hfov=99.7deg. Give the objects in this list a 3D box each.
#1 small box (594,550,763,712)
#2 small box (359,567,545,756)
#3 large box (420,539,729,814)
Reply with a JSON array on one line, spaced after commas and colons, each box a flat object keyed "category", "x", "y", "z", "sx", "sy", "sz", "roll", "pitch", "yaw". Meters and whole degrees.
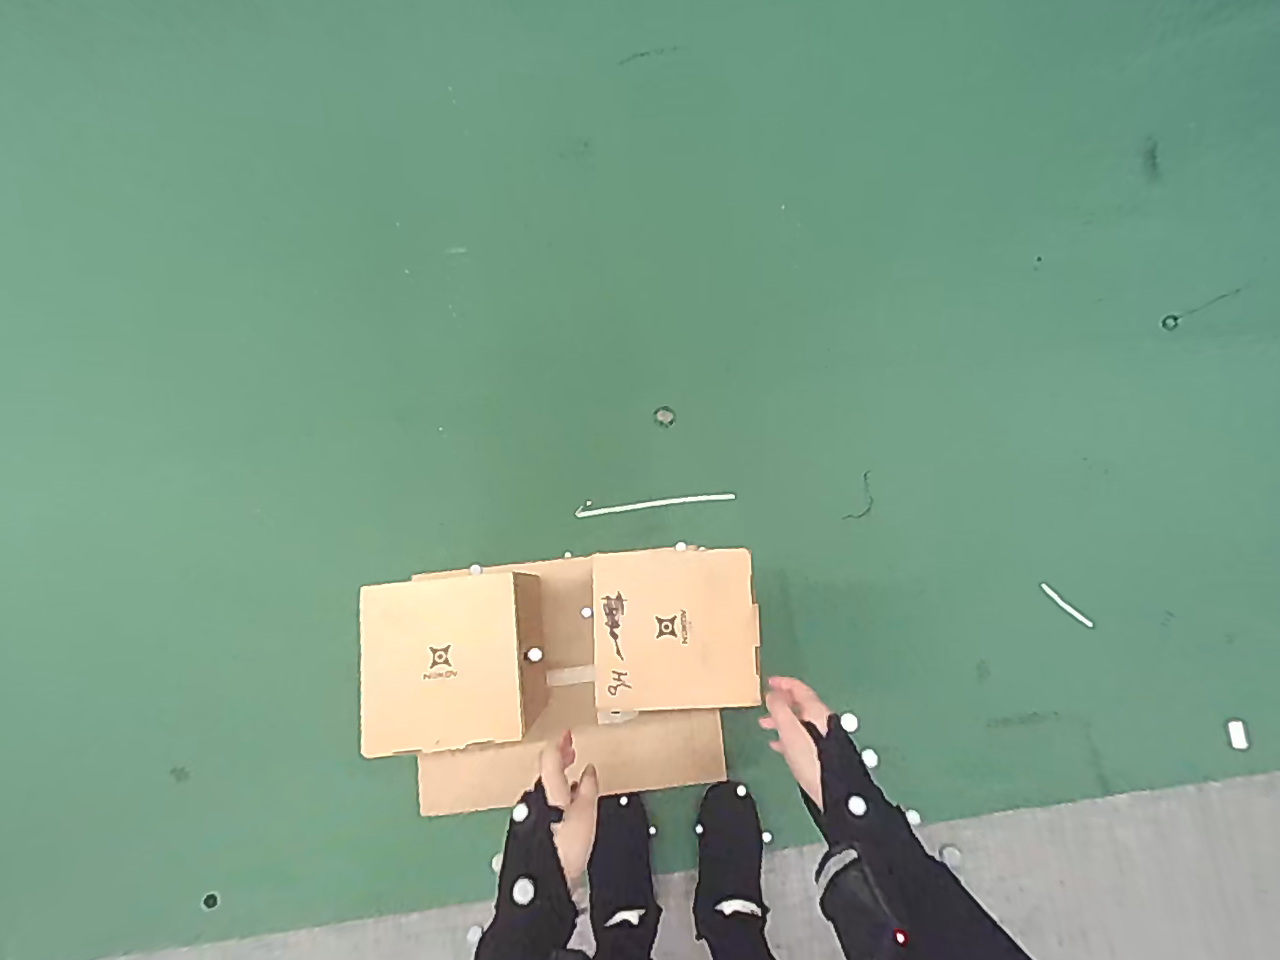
[{"category": "small box", "x": 0.037, "y": 0.169, "z": 0.645, "sx": 0.179, "sy": 0.176, "sz": 0.168, "roll": -2, "pitch": 79, "yaw": 0}, {"category": "small box", "x": -0.210, "y": 0.202, "z": 0.640, "sx": 0.168, "sy": 0.176, "sz": 0.179, "roll": -6, "pitch": 80, "yaw": -2}, {"category": "large box", "x": -0.101, "y": 0.284, "z": 0.872, "sx": 0.408, "sy": 0.320, "sz": 0.320, "roll": -6, "pitch": 80, "yaw": -2}]
